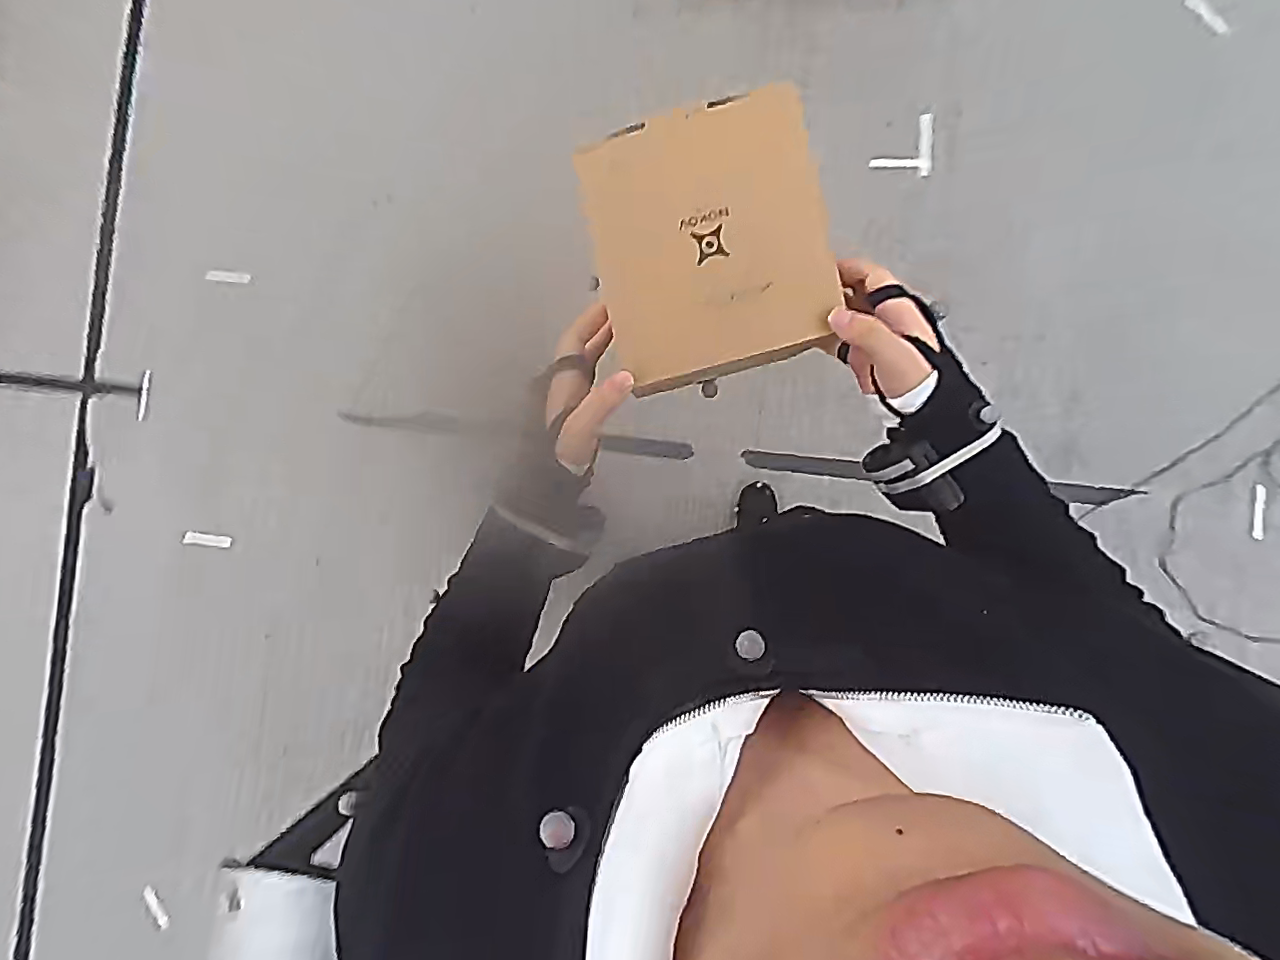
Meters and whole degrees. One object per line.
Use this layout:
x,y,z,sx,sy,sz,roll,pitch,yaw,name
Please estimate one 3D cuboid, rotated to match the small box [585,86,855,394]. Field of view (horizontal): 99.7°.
0.059,-0.180,0.464,0.168,0.176,0.179,-14,96,3,small box
